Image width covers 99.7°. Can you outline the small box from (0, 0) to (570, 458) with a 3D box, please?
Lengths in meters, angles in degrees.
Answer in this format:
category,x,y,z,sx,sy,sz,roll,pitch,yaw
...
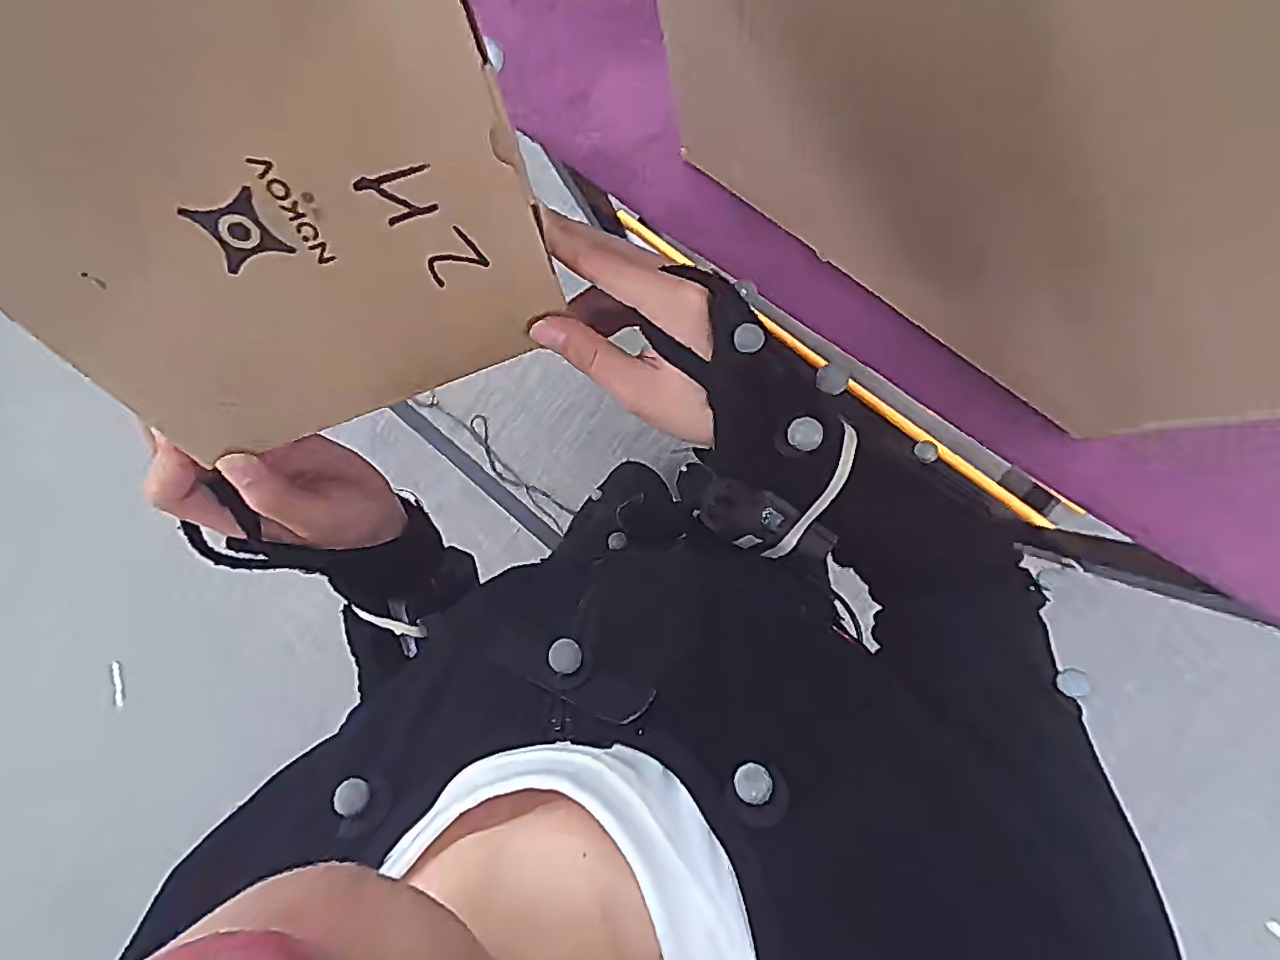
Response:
category,x,y,z,sx,sy,sz,roll,pitch,yaw
small box,-0.148,-0.144,0.225,0.179,0.168,0.176,-20,54,-4
